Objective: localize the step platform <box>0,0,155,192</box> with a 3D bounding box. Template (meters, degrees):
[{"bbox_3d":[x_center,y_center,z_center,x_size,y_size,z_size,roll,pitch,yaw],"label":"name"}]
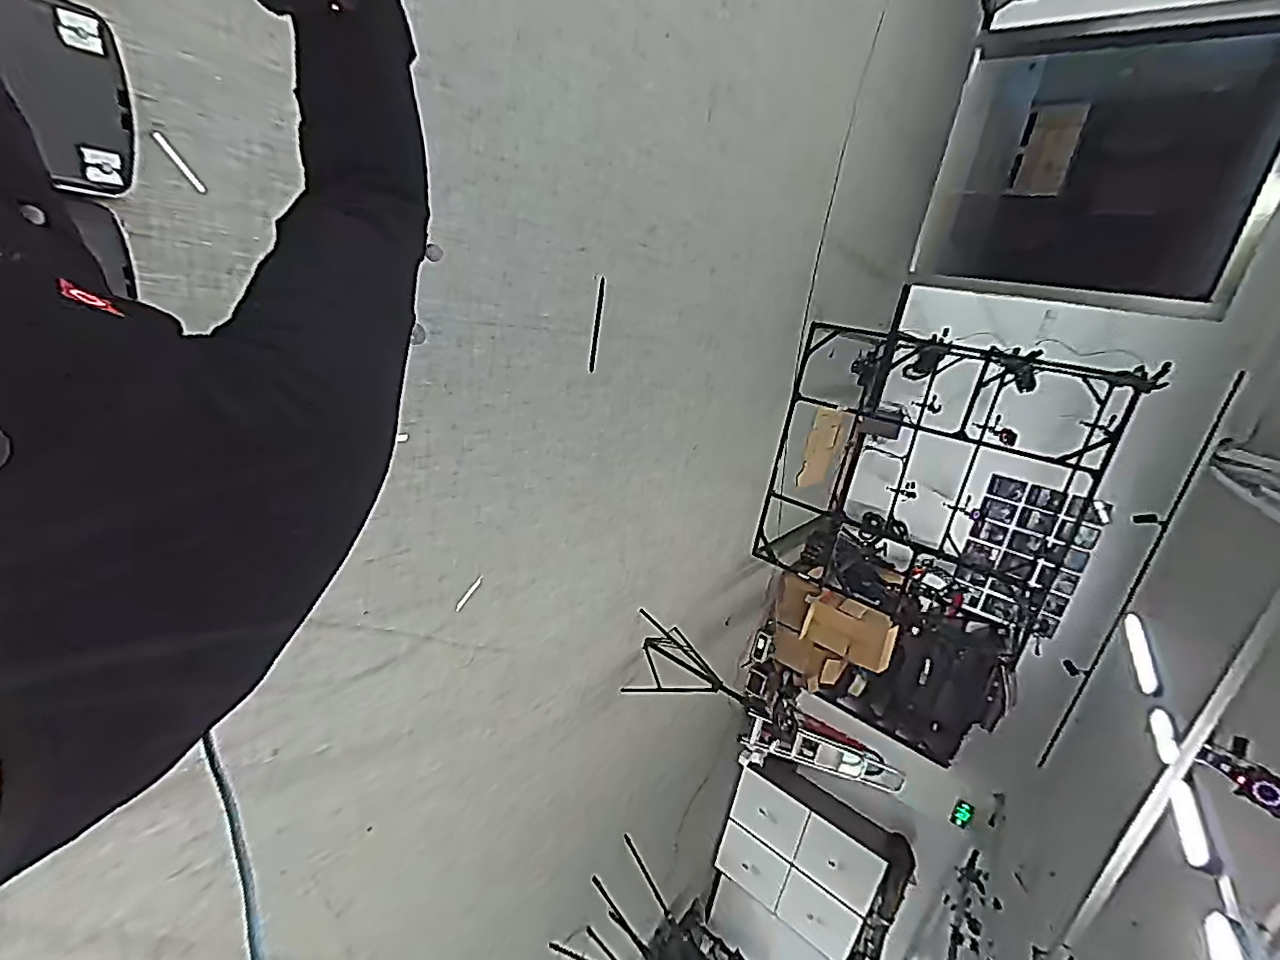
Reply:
[{"bbox_3d":[-1.143,-0.633,0.762,0.684,0.204,0.286,-18,123,-52],"label":"step platform"}]
